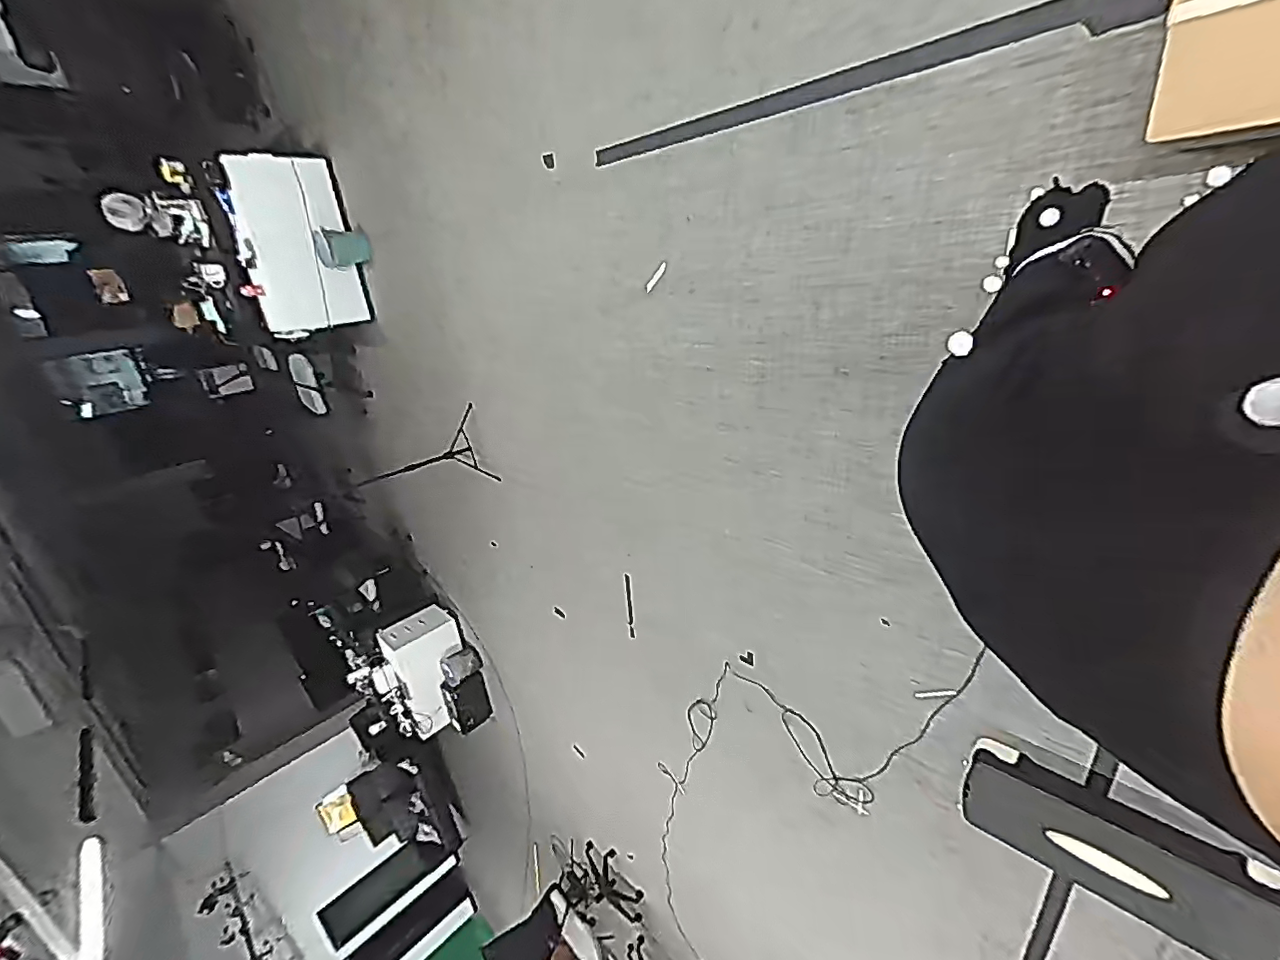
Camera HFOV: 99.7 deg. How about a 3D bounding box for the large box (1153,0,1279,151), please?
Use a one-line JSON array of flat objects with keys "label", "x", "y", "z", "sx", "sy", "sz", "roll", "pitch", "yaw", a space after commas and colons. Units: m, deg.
[{"label": "large box", "x": 0.982, "y": -0.658, "z": 0.708, "sx": 0.408, "sy": 0.320, "sz": 0.320, "roll": 15, "pitch": 121, "yaw": 42}]
